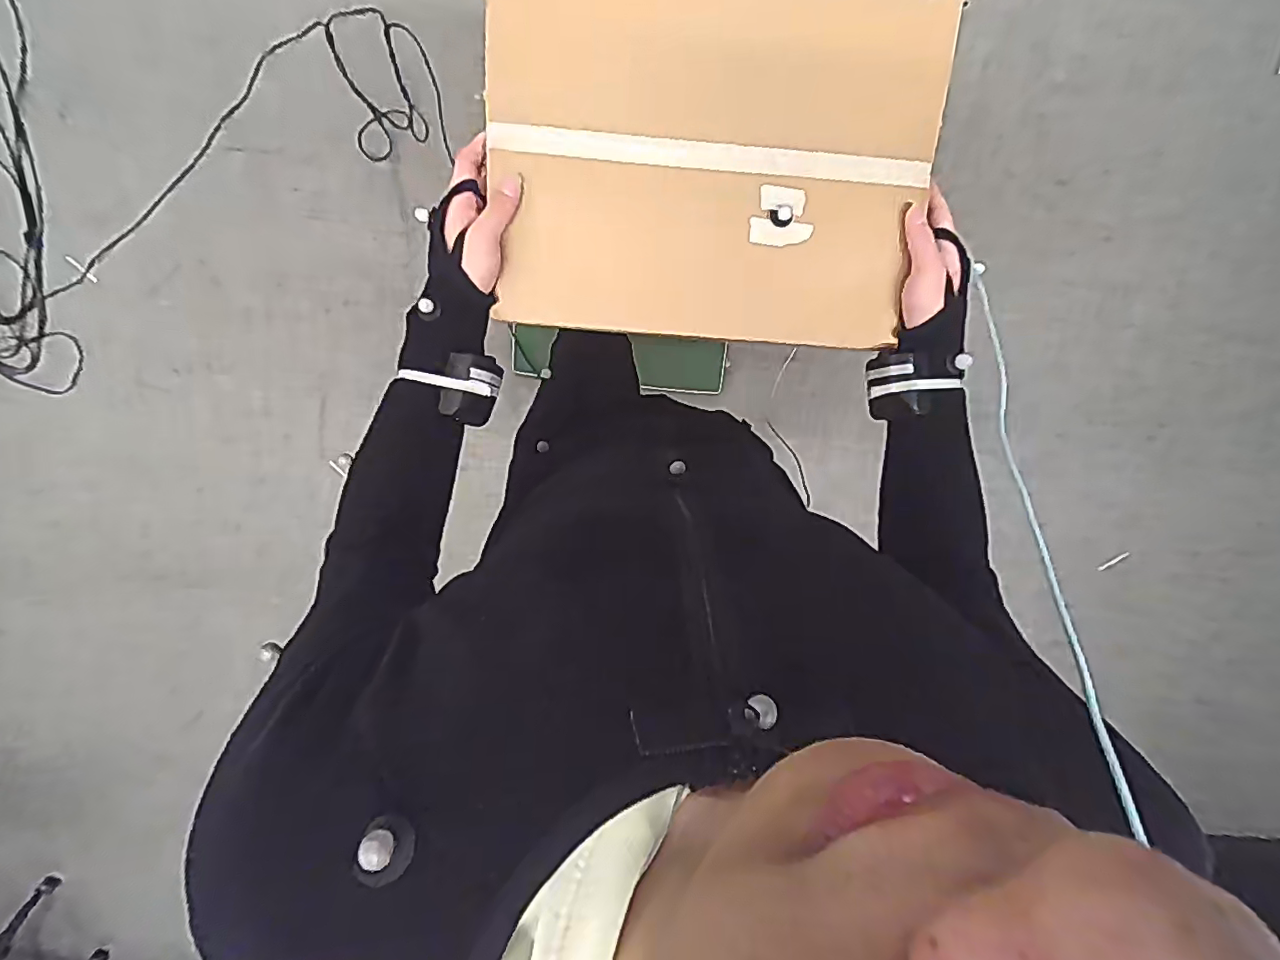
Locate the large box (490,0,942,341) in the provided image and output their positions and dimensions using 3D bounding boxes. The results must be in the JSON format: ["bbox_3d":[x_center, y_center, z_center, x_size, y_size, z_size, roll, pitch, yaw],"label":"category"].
[{"bbox_3d":[0.054,-0.335,0.645,0.408,0.320,0.320,3,105,-4],"label":"large box"}]
